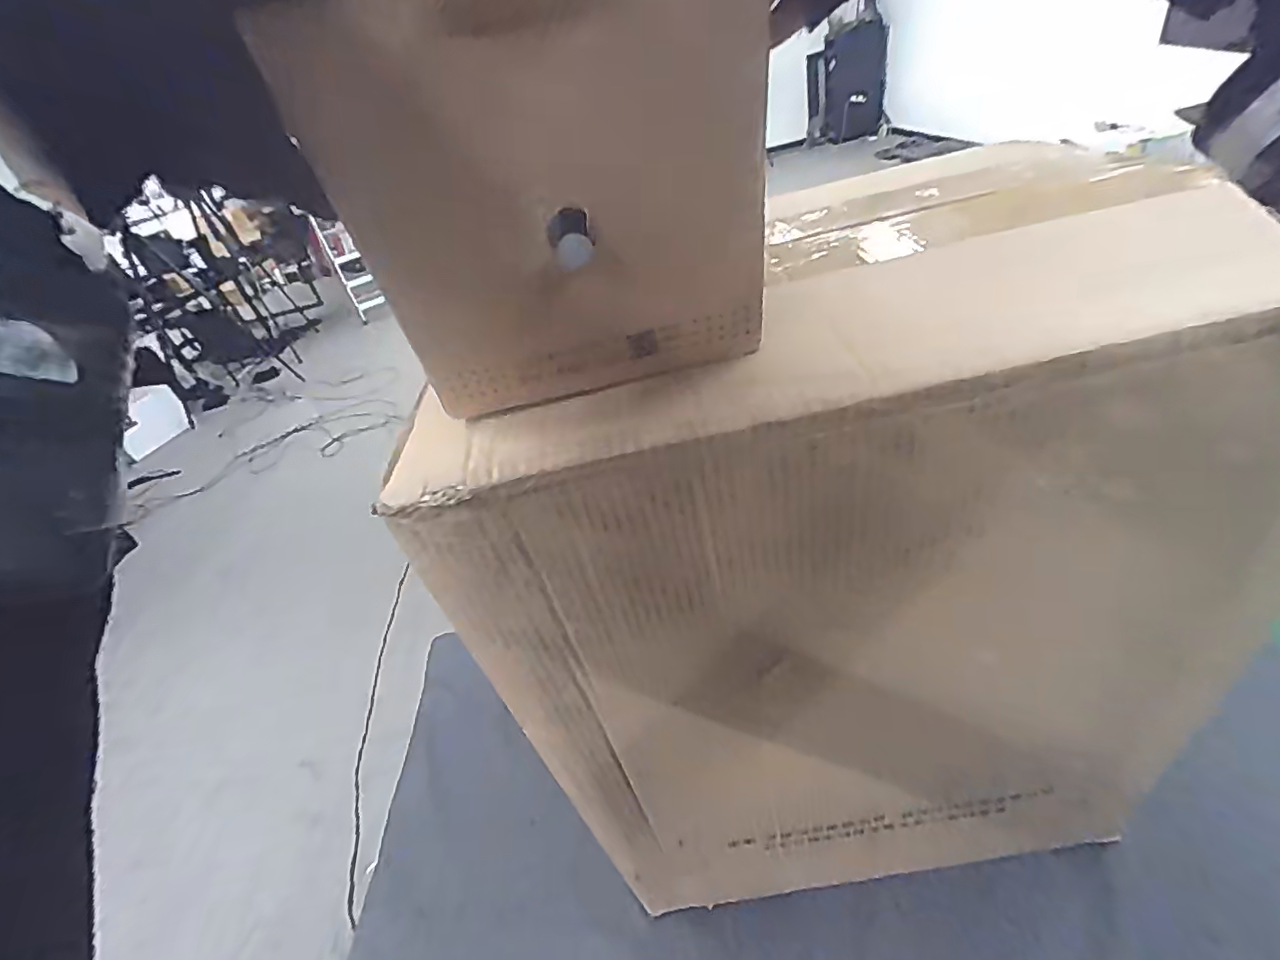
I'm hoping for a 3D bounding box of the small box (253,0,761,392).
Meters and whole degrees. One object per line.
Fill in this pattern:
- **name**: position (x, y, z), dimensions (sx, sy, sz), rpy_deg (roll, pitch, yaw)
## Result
- **small box**: position (-0.039, -0.163, 0.275), dimensions (0.168, 0.176, 0.179), rpy_deg (-13, 49, -1)
